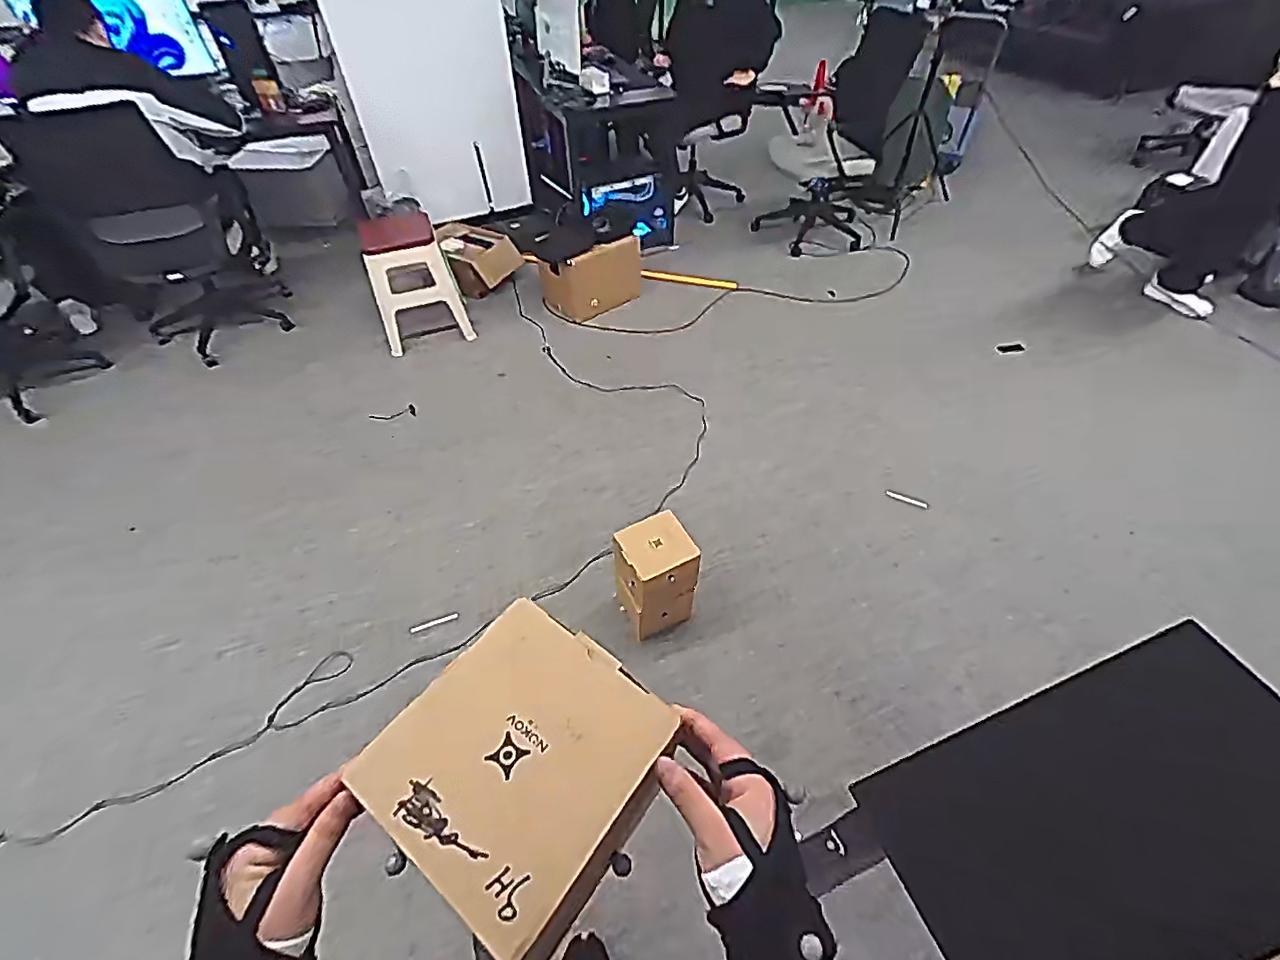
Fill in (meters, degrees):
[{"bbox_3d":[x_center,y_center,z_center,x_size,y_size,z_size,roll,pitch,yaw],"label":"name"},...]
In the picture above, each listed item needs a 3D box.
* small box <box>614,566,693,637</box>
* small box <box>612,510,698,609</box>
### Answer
[{"bbox_3d":[0.037,0.328,1.583,0.179,0.176,0.168,-21,52,-15],"label":"small box"},{"bbox_3d":[0.040,0.219,1.462,0.179,0.176,0.168,-22,53,-18],"label":"small box"}]
